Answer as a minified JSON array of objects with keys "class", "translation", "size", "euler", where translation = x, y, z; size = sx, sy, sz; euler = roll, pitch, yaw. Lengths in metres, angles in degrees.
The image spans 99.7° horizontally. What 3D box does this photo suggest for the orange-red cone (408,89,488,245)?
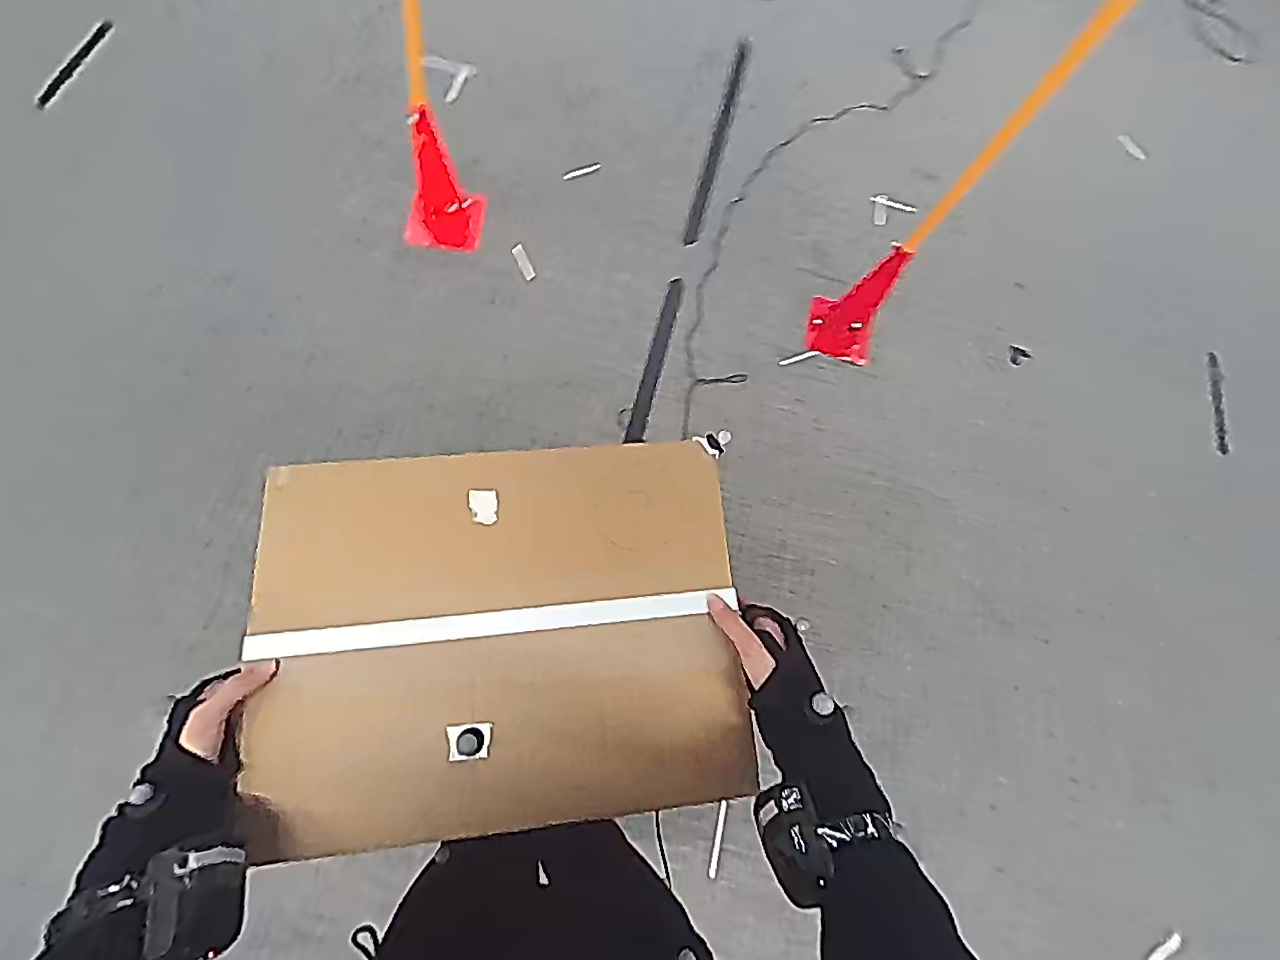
[{"class":"orange-red cone","translation":[-0.527,-0.819,1.394],"size":[0.199,0.360,0.198],"euler":[7,71,-5]}]
